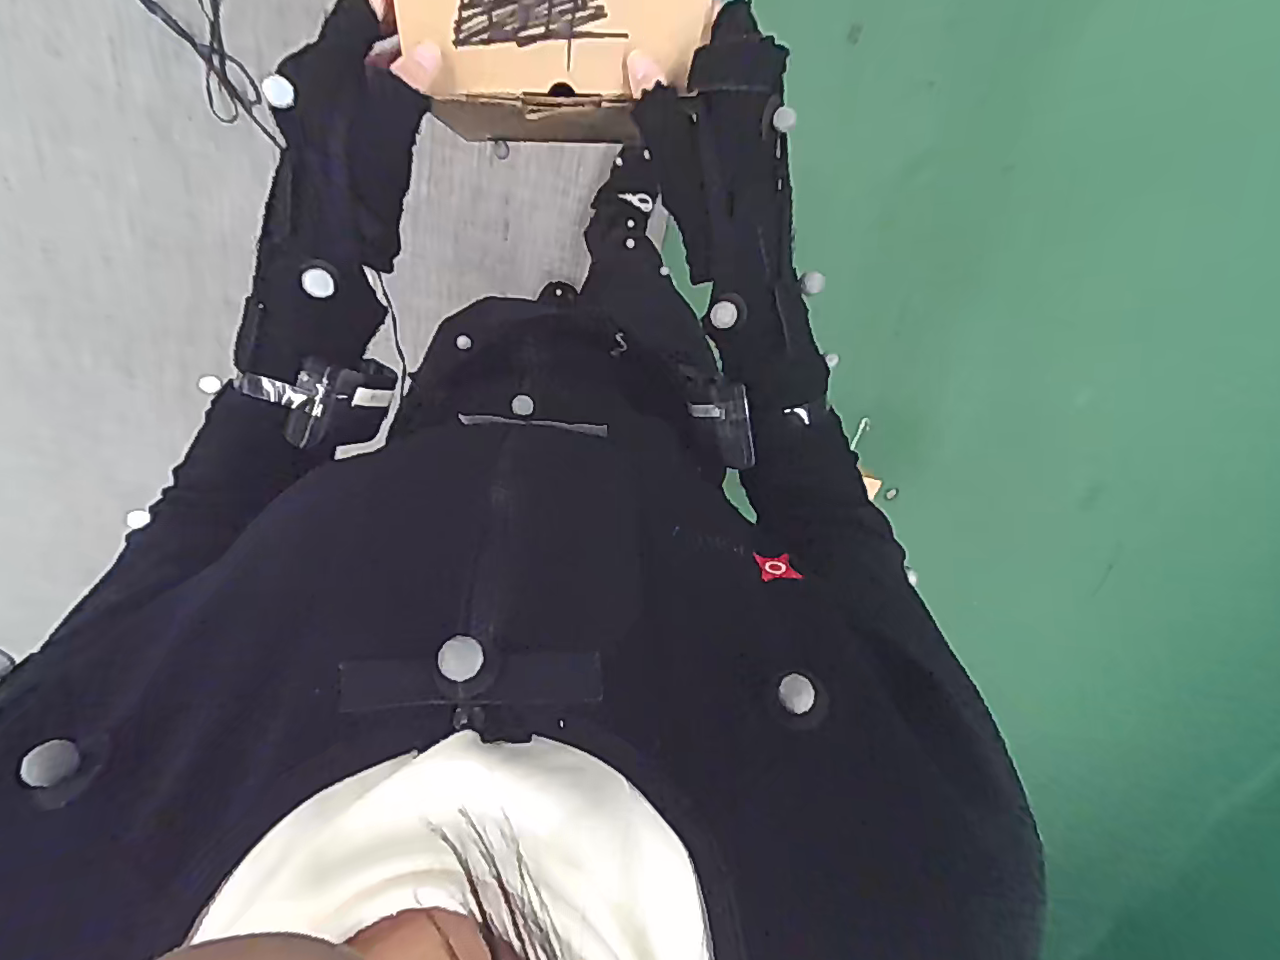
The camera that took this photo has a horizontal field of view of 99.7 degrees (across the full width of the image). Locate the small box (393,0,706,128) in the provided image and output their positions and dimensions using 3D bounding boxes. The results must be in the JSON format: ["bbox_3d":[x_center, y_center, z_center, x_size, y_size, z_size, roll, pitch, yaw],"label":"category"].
[{"bbox_3d":[-0.052,-0.330,0.332,0.168,0.176,0.179,-3,115,-5],"label":"small box"}]

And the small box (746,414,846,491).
[{"bbox_3d":[0.406,-0.062,1.436,0.179,0.176,0.168,13,113,-9],"label":"small box"}]
